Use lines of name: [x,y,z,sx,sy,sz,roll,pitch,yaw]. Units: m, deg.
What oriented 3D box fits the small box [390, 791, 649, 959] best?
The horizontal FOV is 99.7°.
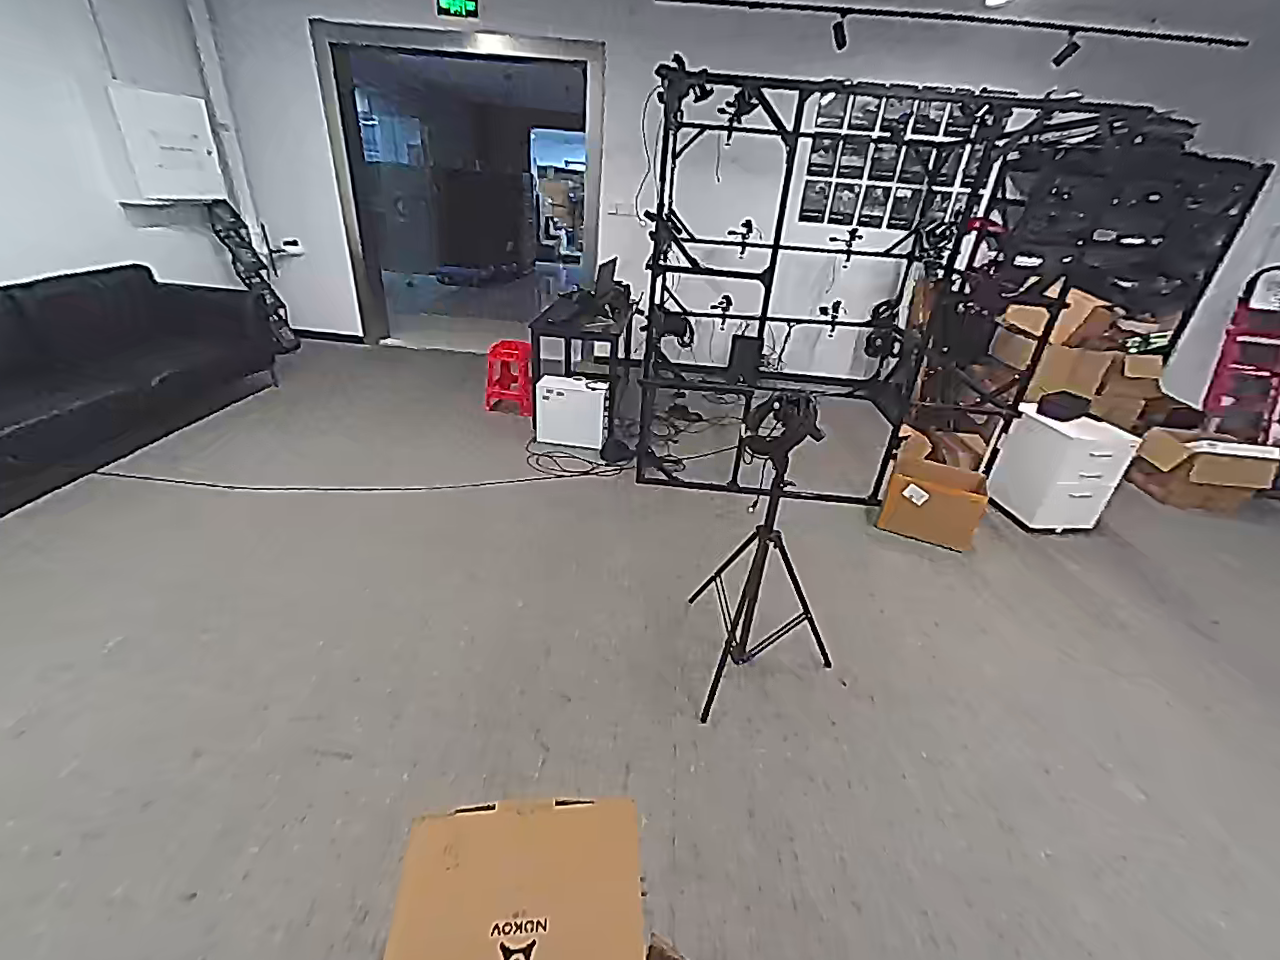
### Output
small box: [-0.084,0.359,0.405,0.168,0.176,0.179,0,44,-7]
